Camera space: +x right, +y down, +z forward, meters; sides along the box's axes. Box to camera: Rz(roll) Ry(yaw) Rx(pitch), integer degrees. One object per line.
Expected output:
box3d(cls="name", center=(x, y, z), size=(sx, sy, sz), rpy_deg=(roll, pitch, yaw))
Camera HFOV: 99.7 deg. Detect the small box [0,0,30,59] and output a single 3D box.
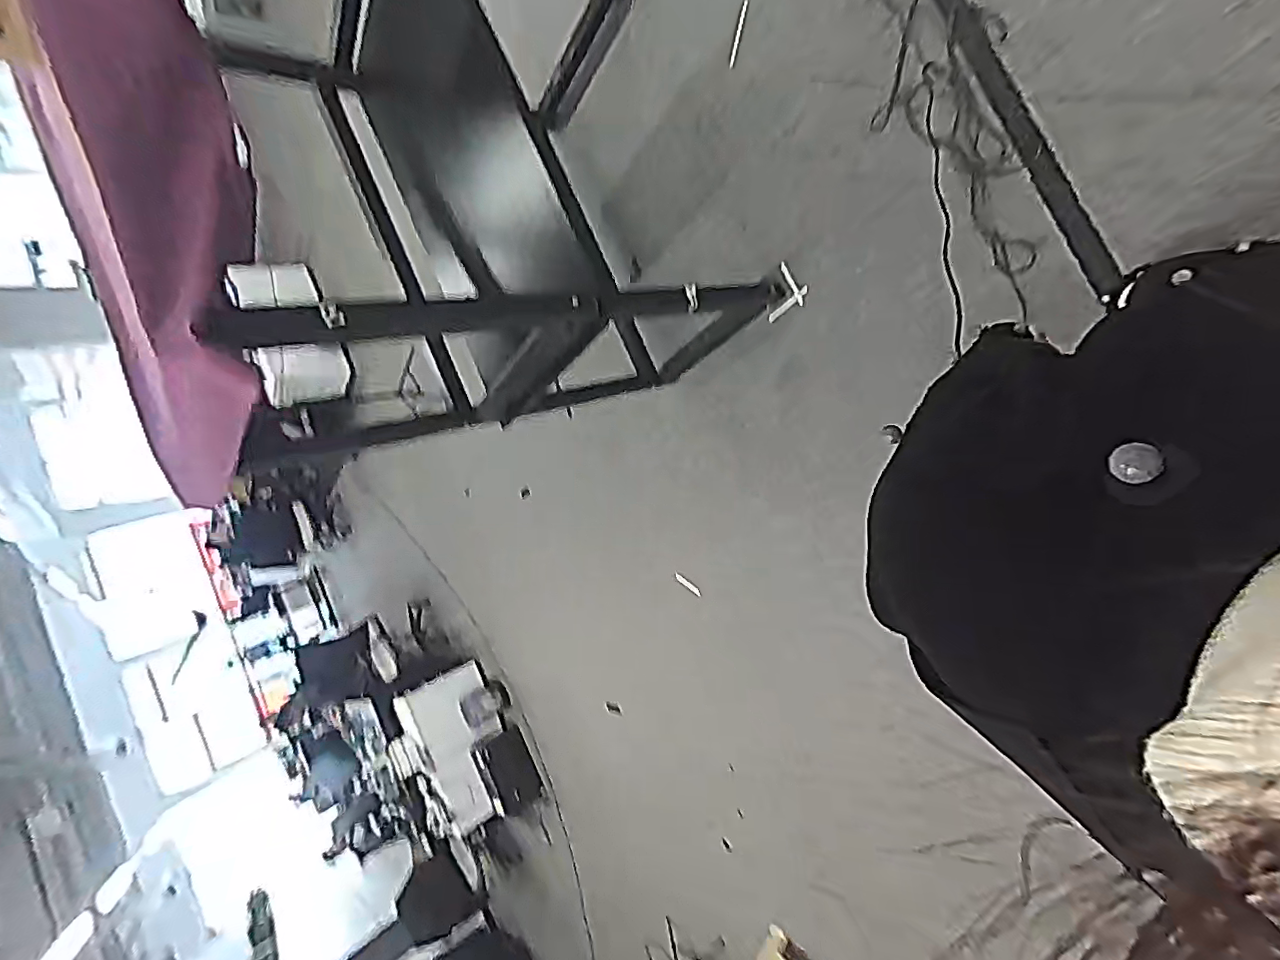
box3d(cls="small box", center=(-1.008, -0.739, 0.751), size=(0.168, 0.176, 0.179), rpy_deg=(-25, 87, 50))
